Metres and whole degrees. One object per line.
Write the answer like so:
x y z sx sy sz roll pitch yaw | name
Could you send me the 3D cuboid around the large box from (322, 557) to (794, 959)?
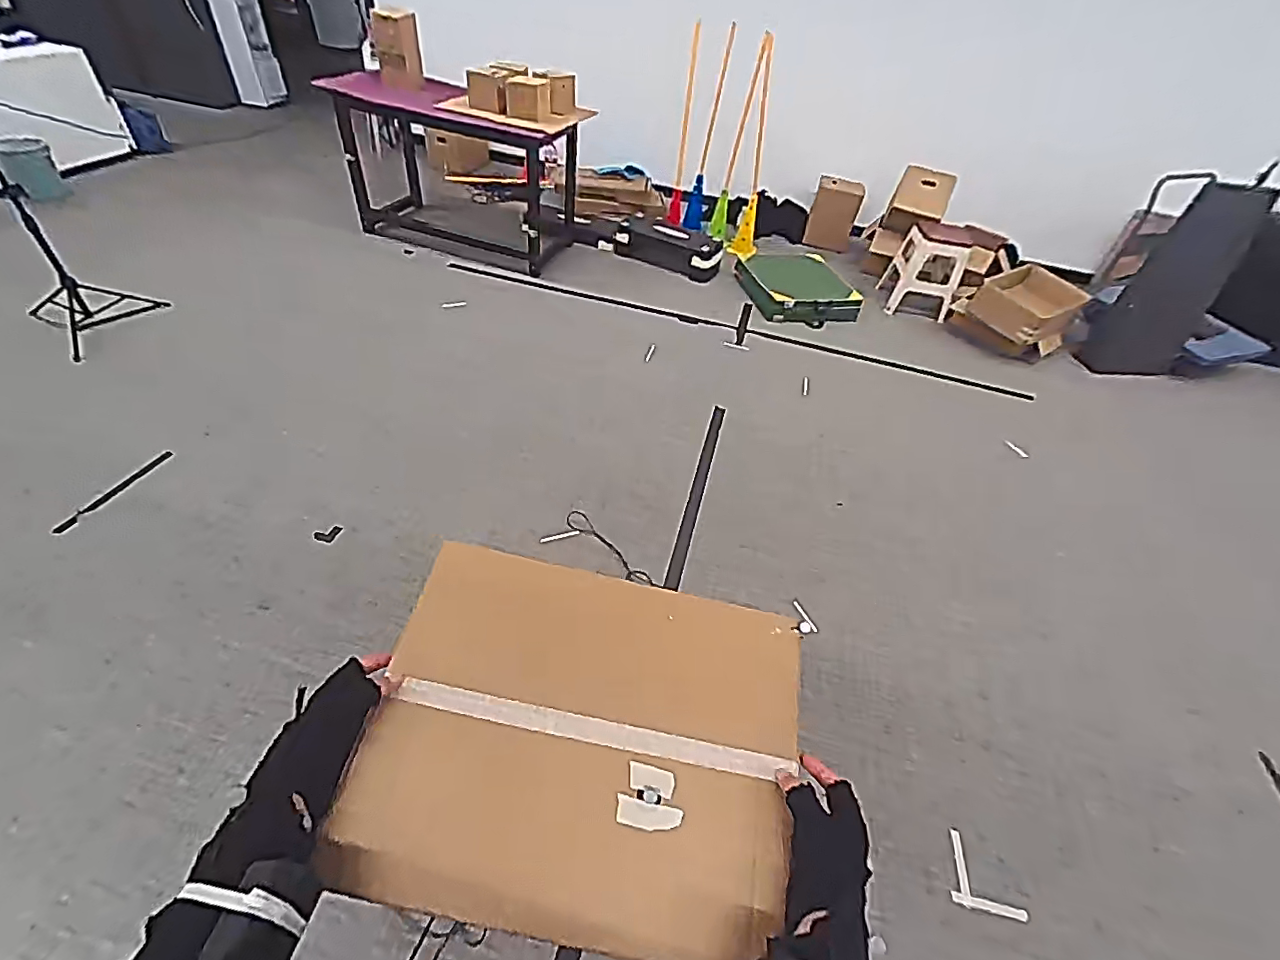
-0.064 0.331 0.650 0.408 0.320 0.320 13 56 0 | large box
